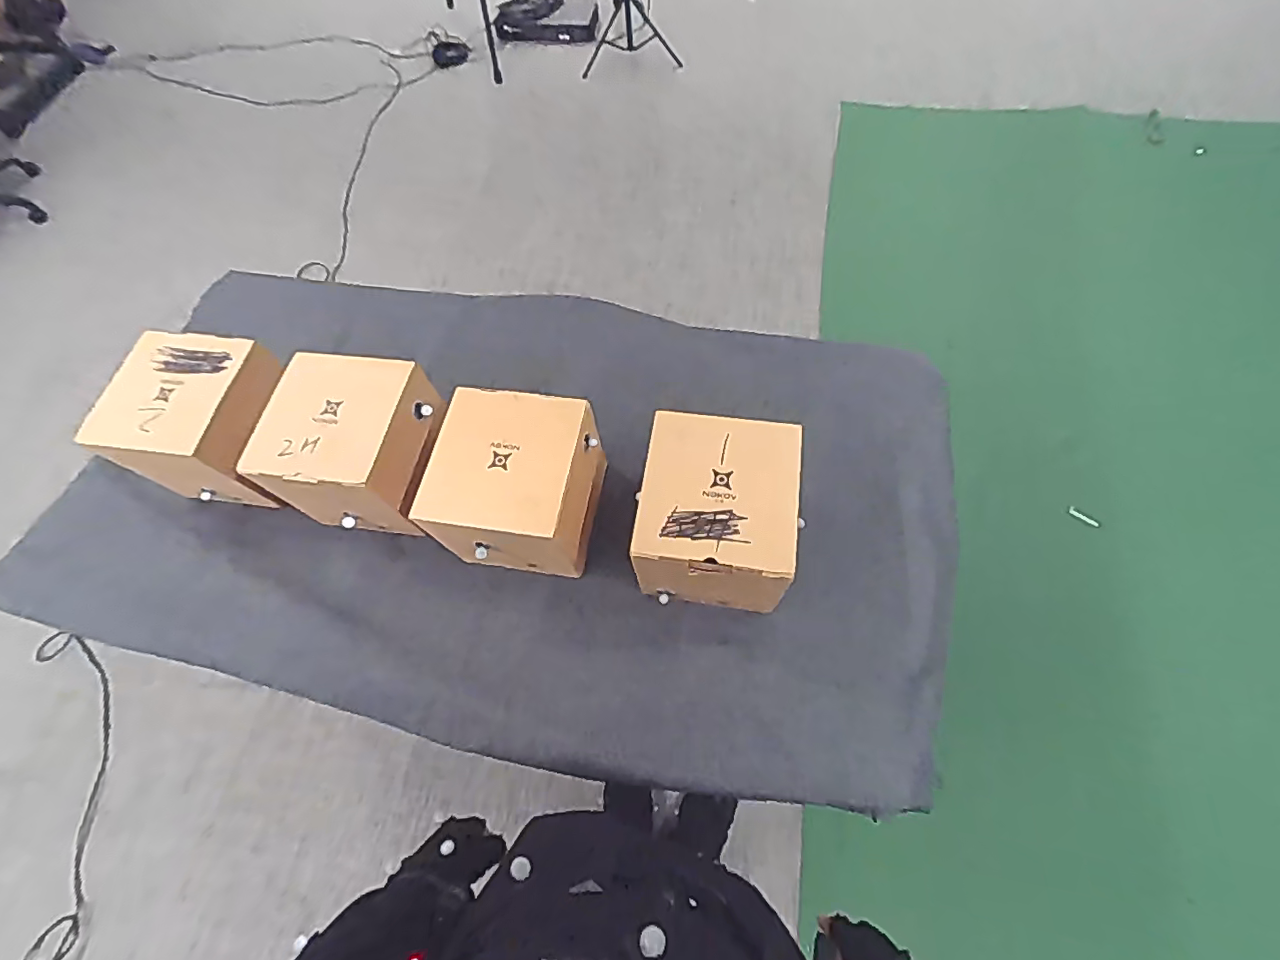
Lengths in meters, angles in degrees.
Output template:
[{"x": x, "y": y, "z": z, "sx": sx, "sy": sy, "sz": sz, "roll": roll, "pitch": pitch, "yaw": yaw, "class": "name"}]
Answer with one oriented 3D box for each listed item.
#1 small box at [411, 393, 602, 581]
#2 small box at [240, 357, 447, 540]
[{"x": -0.150, "y": 0.016, "z": 0.680, "sx": 0.168, "sy": 0.176, "sz": 0.179, "roll": 7, "pitch": 64, "yaw": 8, "class": "small box"}, {"x": -0.364, "y": -0.037, "z": 0.720, "sx": 0.168, "sy": 0.176, "sz": 0.179, "roll": 6, "pitch": 65, "yaw": 8, "class": "small box"}]
